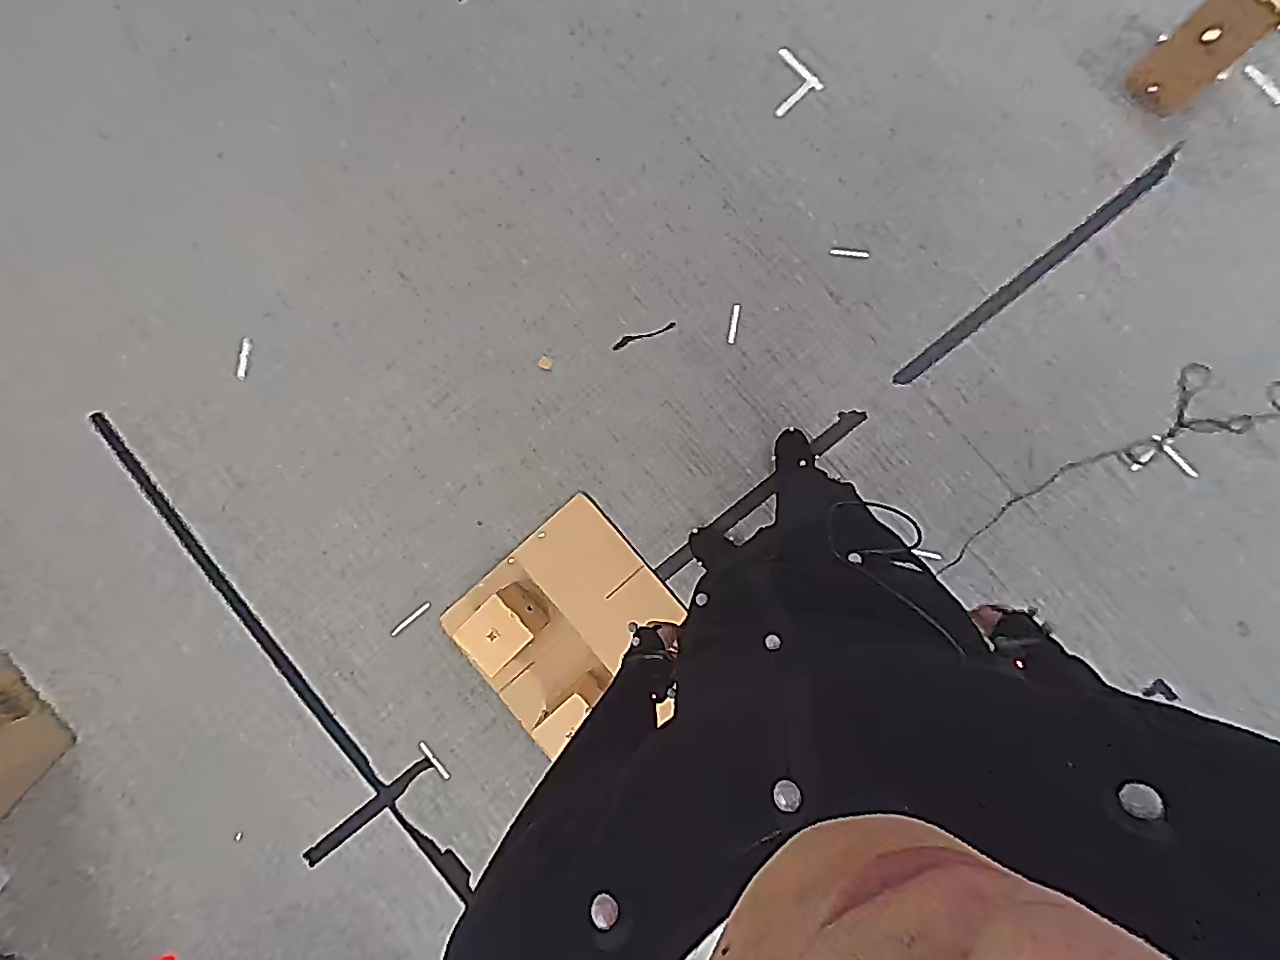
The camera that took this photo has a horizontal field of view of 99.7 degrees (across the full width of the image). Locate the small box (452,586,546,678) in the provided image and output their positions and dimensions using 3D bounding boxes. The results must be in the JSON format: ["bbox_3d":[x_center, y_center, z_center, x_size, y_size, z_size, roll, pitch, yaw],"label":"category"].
[{"bbox_3d":[-0.401,0.433,1.572,0.168,0.176,0.179,45,92,4],"label":"small box"}]

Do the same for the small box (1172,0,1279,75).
[{"bbox_3d":[1.474,-1.151,1.307,0.179,0.176,0.168,-39,85,4],"label":"small box"}]

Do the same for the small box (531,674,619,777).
[{"bbox_3d":[-0.176,0.692,1.542,0.179,0.176,0.168,-42,87,2],"label":"small box"}]
